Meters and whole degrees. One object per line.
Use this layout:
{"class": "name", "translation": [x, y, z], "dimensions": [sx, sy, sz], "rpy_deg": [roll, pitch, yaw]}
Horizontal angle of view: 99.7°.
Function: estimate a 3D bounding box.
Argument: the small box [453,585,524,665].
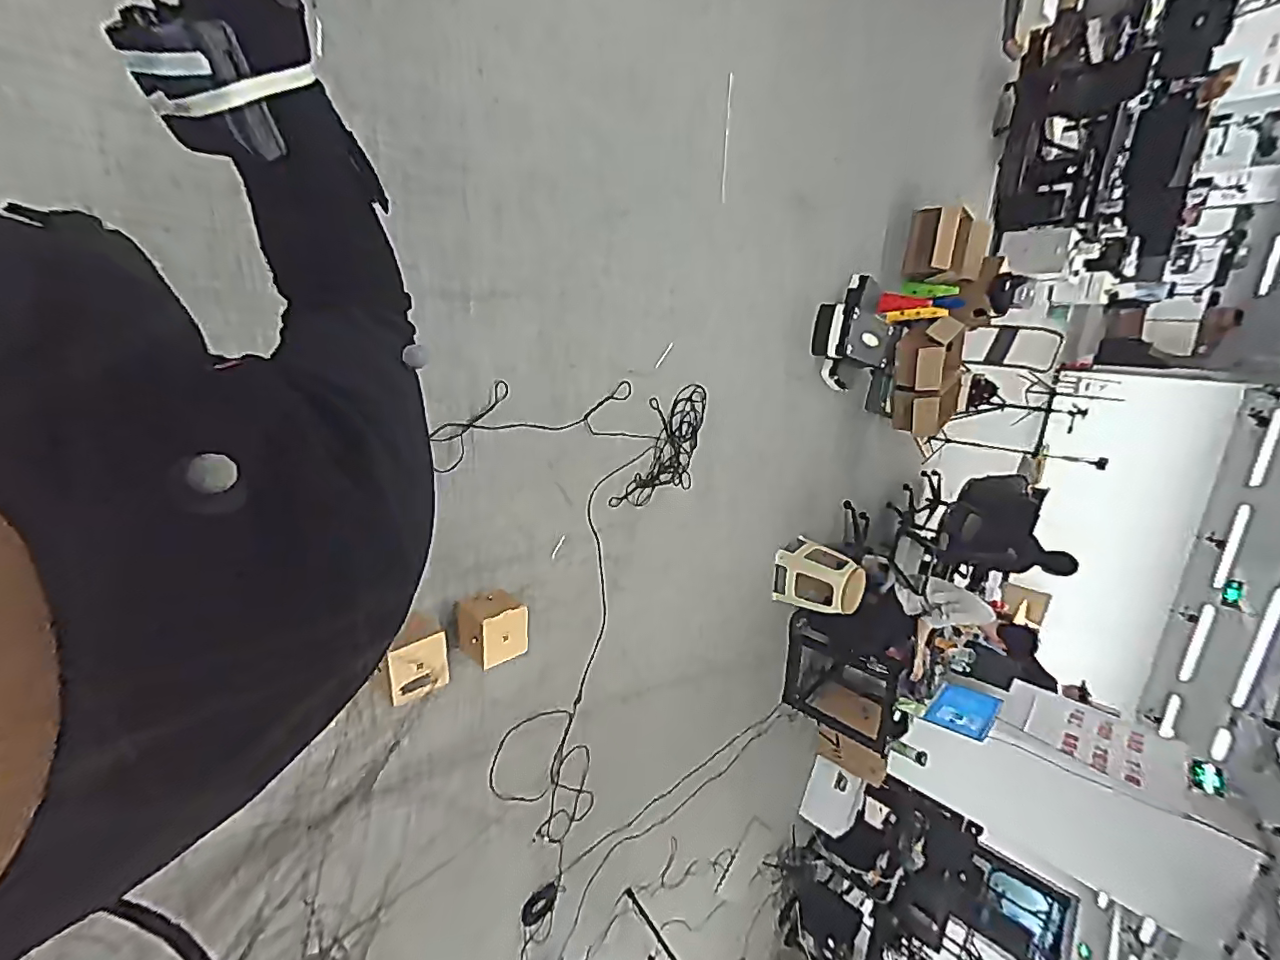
{"class": "small box", "translation": [-0.499, 0.469, 1.777], "dimensions": [0.168, 0.176, 0.179], "rpy_deg": [-13, 112, -45]}
